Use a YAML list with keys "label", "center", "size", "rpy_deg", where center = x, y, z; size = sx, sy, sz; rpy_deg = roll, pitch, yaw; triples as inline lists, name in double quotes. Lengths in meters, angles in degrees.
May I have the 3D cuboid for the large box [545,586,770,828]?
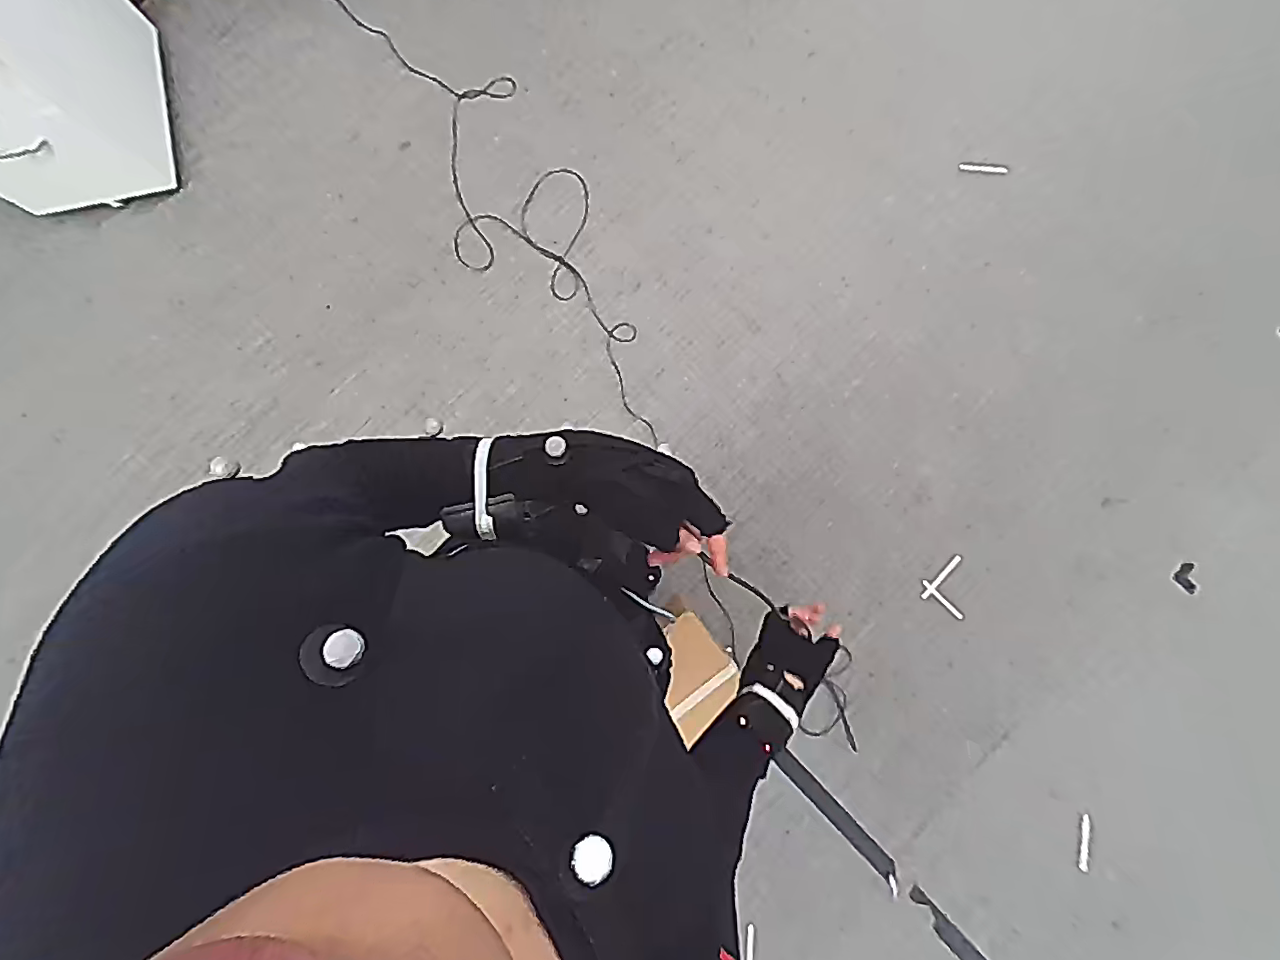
- label: "large box"
  center: [0.040, 0.514, 1.317]
  size: [0.408, 0.320, 0.320]
  rpy_deg: [-37, 85, -2]
